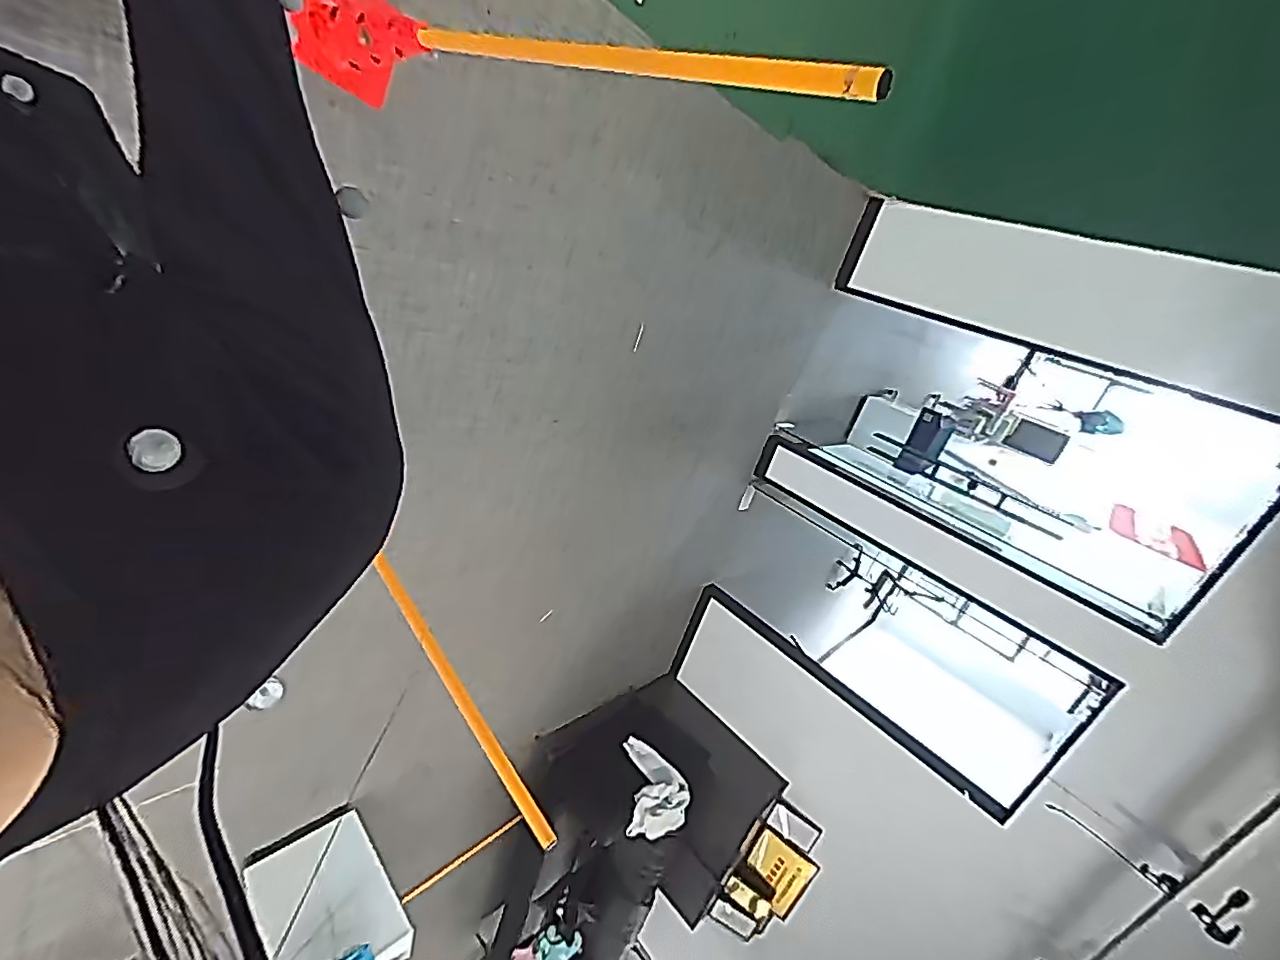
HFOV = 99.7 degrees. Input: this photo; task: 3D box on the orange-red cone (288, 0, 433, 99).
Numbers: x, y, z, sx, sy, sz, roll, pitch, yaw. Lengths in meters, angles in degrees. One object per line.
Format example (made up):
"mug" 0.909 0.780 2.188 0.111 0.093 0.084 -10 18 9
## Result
"orange-red cone" -0.487 -0.856 1.024 0.198 0.360 0.199 10 113 -52
